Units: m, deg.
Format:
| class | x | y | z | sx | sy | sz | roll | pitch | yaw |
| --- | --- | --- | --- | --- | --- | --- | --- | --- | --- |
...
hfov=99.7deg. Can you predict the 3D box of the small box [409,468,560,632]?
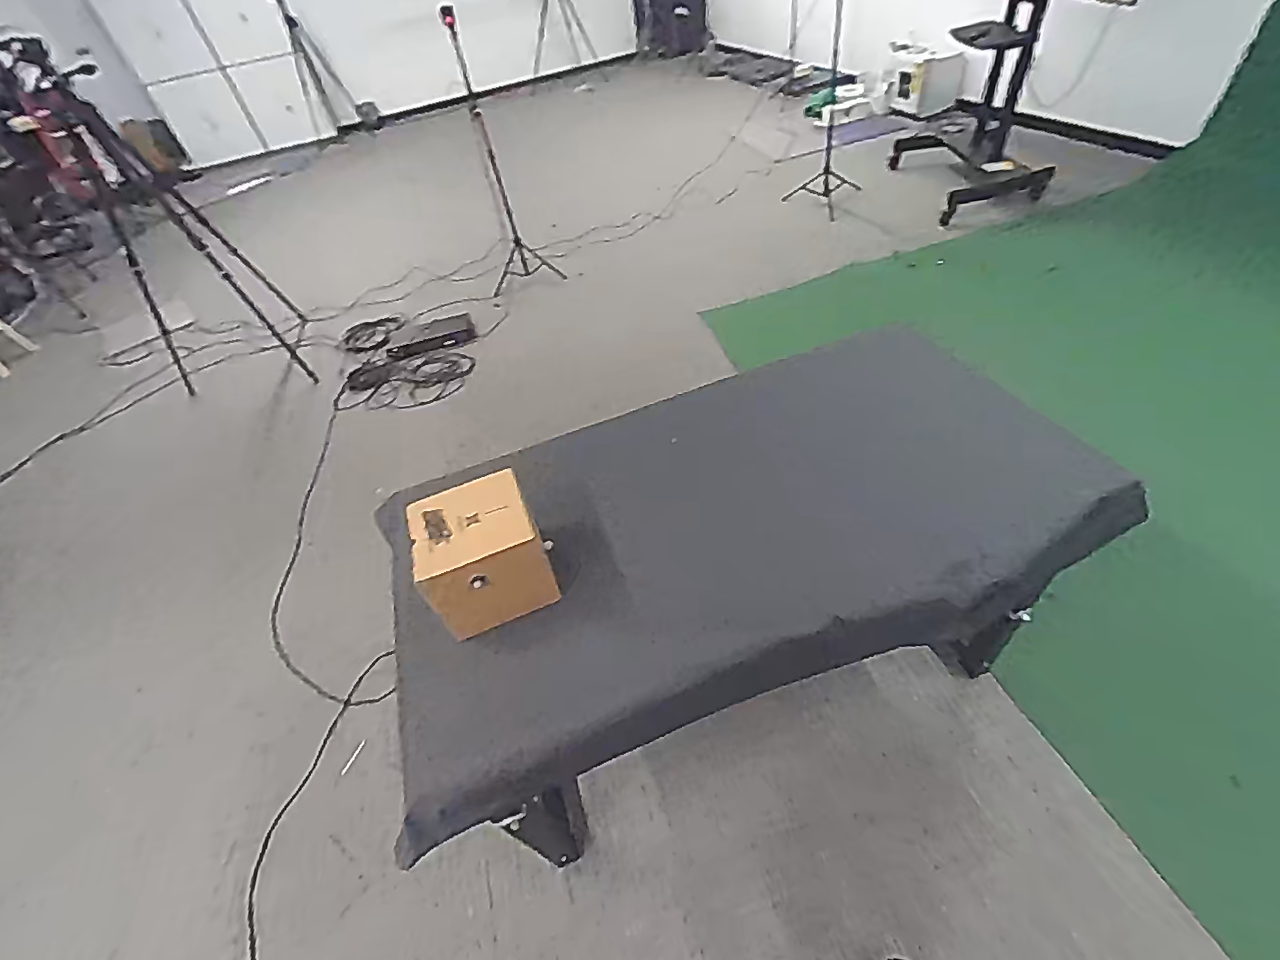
| class | x | y | z | sx | sy | sz | roll | pitch | yaw |
| --- | --- | --- | --- | --- | --- | --- | --- | --- | --- |
| small box | -0.247 | 0.116 | 0.873 | 0.179 | 0.176 | 0.168 | -20 | 46 | -10 |
